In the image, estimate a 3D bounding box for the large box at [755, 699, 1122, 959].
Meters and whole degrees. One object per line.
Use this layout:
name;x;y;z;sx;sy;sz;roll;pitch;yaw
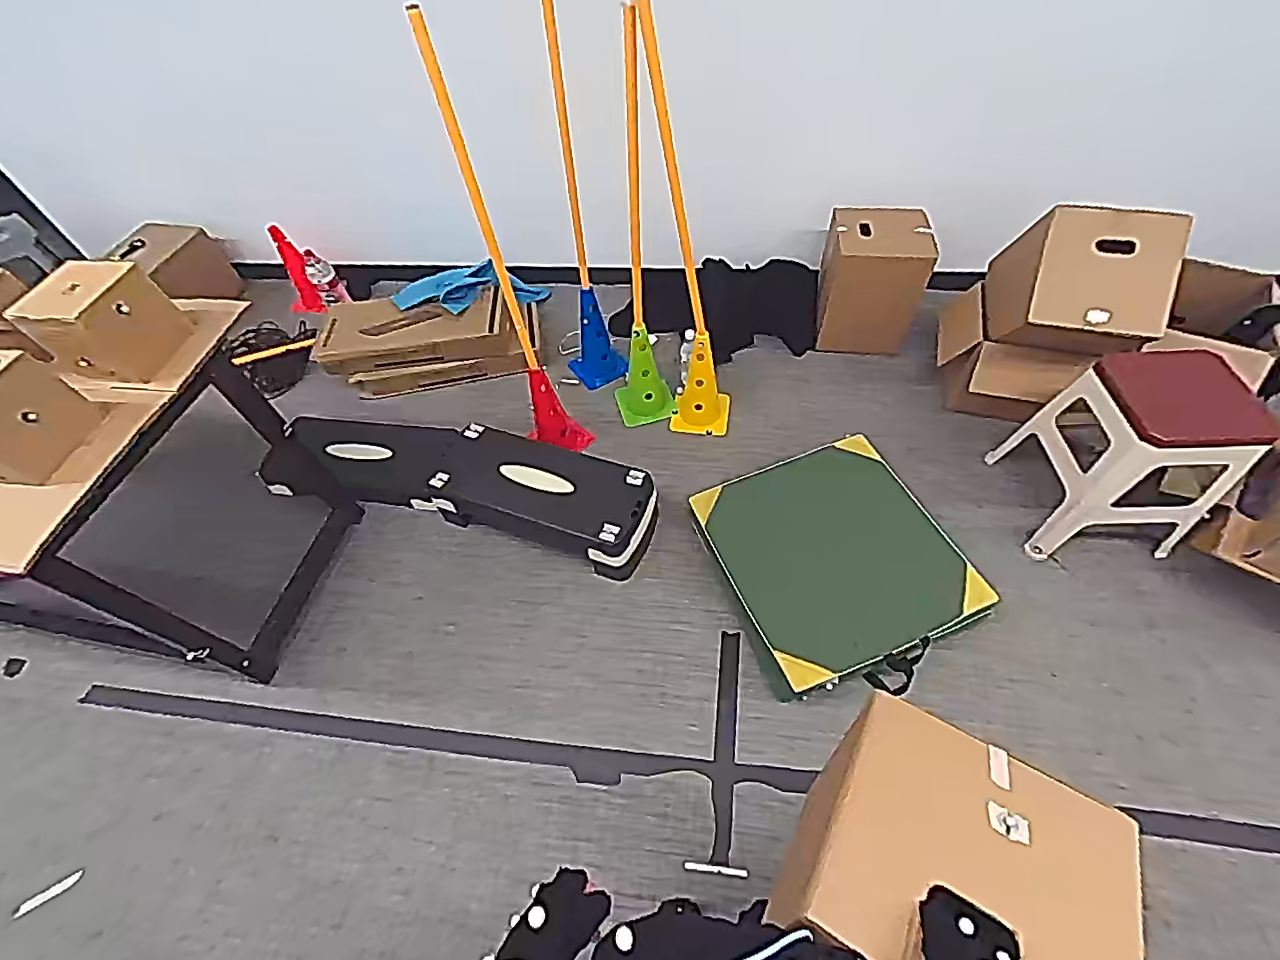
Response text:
large box;0.385;0.592;0.756;0.320;0.408;0.320;24;47;25
